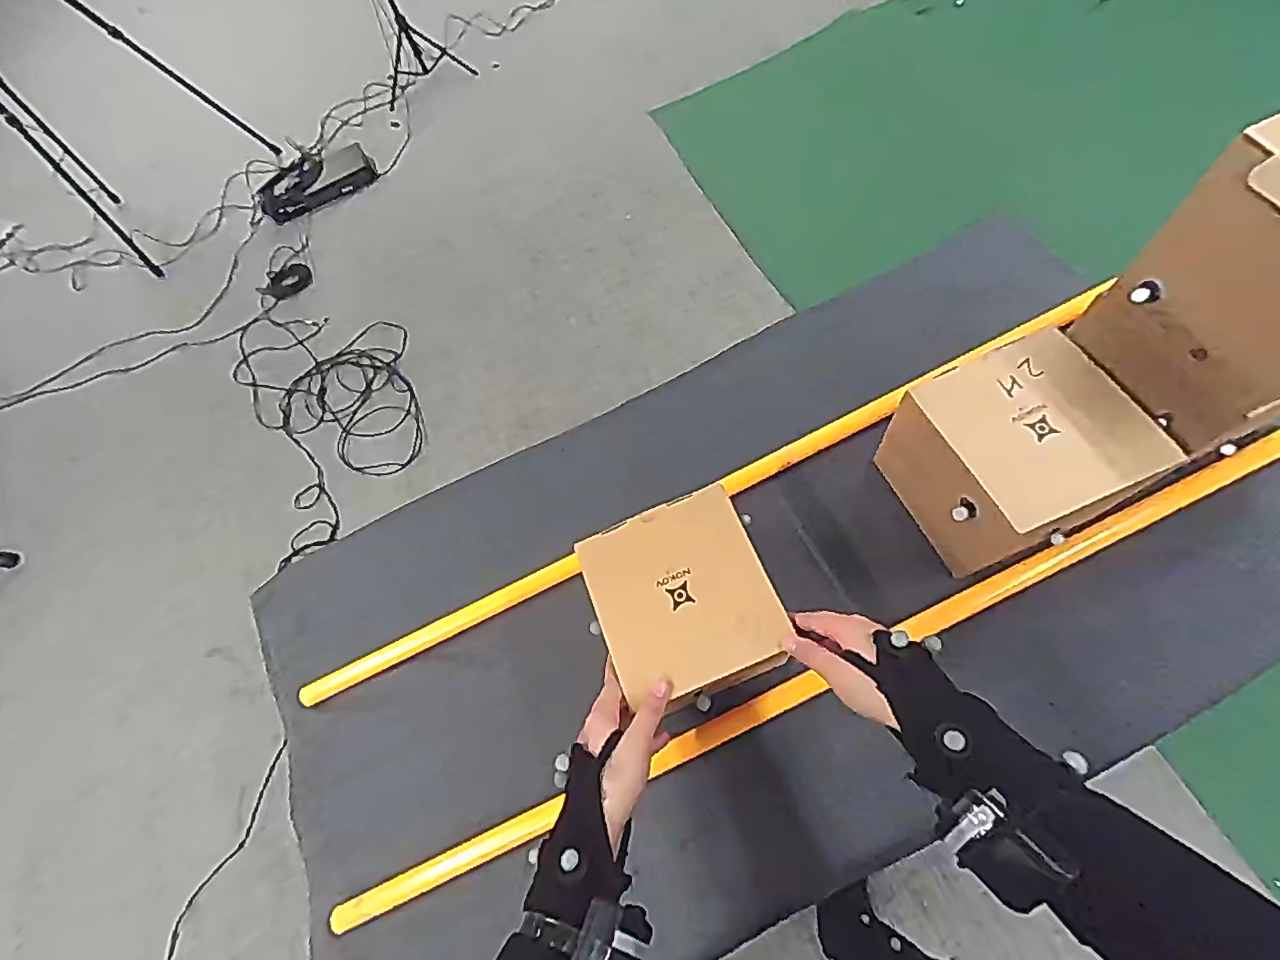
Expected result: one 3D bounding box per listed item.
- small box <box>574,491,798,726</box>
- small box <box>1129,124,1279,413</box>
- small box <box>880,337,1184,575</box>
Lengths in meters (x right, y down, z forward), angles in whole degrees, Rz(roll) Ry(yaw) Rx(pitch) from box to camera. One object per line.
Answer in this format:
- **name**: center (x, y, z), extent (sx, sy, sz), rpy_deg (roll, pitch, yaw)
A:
- **small box**: center (0.052, 0.145, 0.581), extent (0.168, 0.176, 0.179), rpy_deg (-24, 63, 0)
- **small box**: center (0.562, -0.182, 0.439), extent (0.179, 0.176, 0.168), rpy_deg (-22, 64, 1)
- **small box**: center (0.388, -0.011, 0.580), extent (0.168, 0.176, 0.179), rpy_deg (-24, 64, 2)
